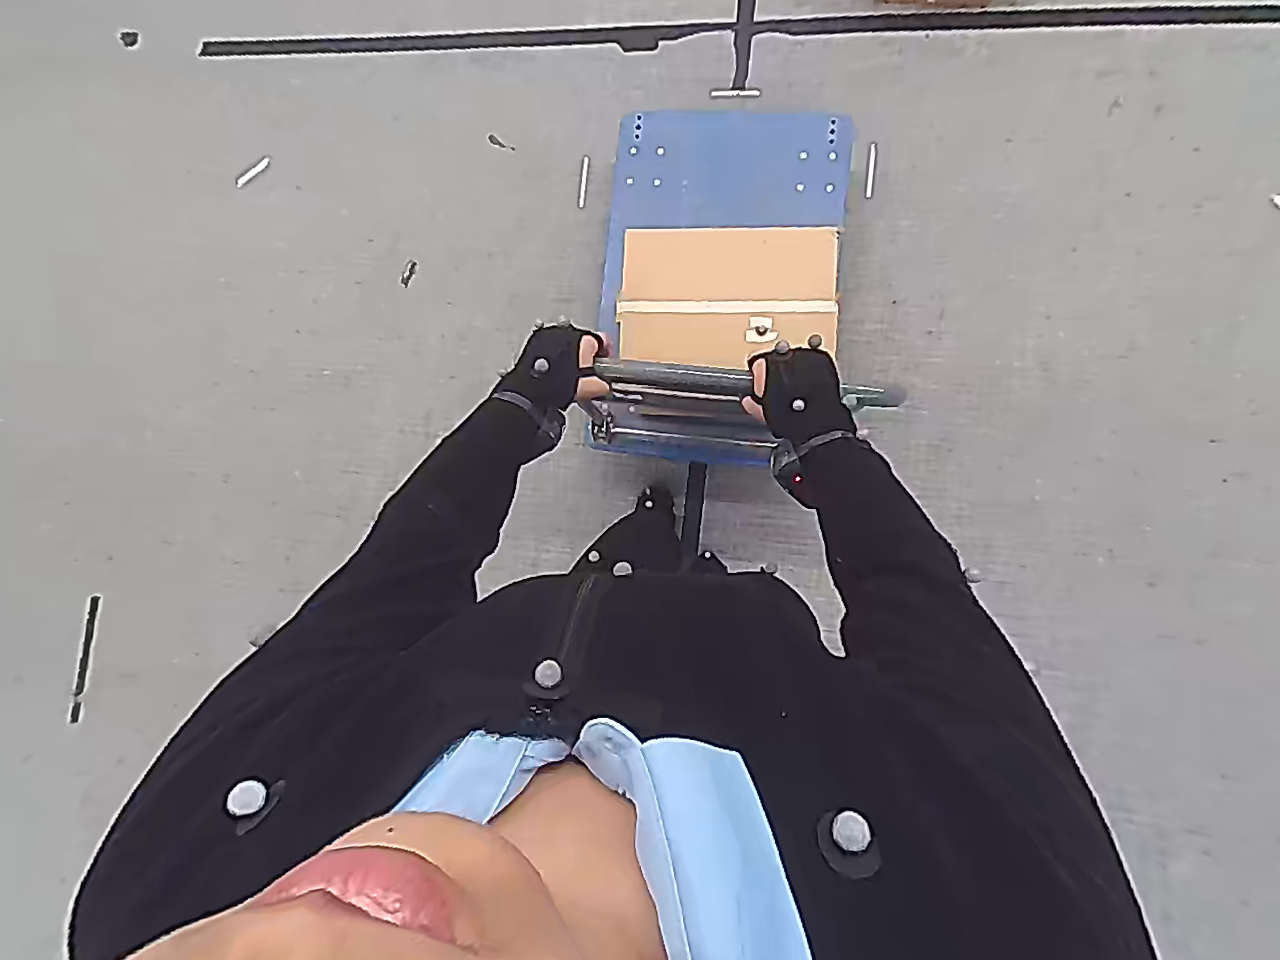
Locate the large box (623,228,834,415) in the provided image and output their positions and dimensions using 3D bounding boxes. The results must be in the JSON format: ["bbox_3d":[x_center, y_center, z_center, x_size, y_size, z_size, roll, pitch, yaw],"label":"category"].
[{"bbox_3d":[0.181,-0.322,1.186,0.408,0.320,0.320,2,87,6],"label":"large box"}]
